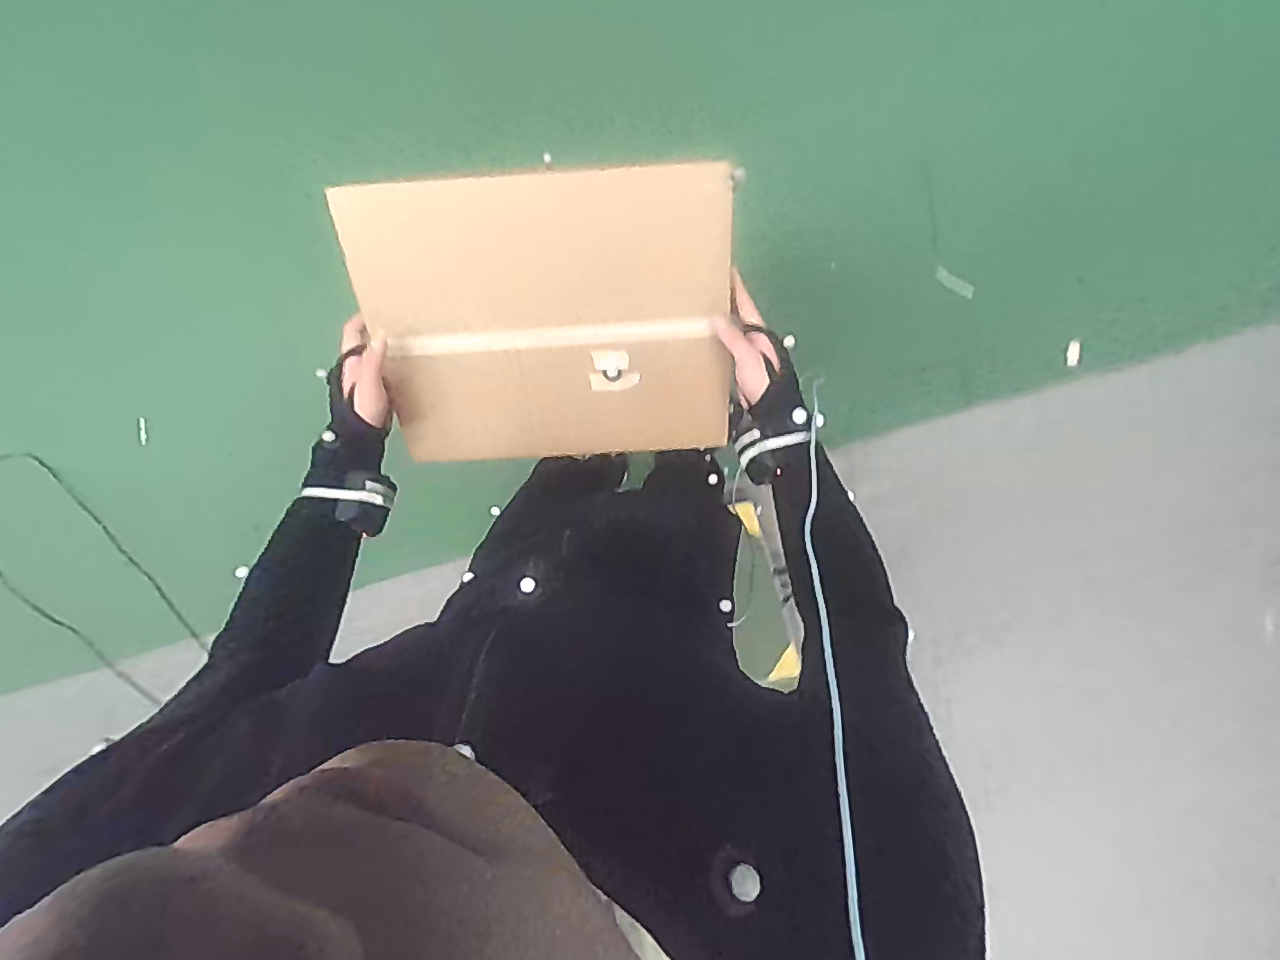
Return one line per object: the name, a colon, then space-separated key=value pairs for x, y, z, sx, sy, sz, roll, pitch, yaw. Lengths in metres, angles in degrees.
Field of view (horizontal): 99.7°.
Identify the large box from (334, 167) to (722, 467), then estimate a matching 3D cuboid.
large box: x=-0.110 y=-0.238 z=0.748 sx=0.408 sy=0.320 sz=0.320 roll=-4 pitch=121 yaw=1
